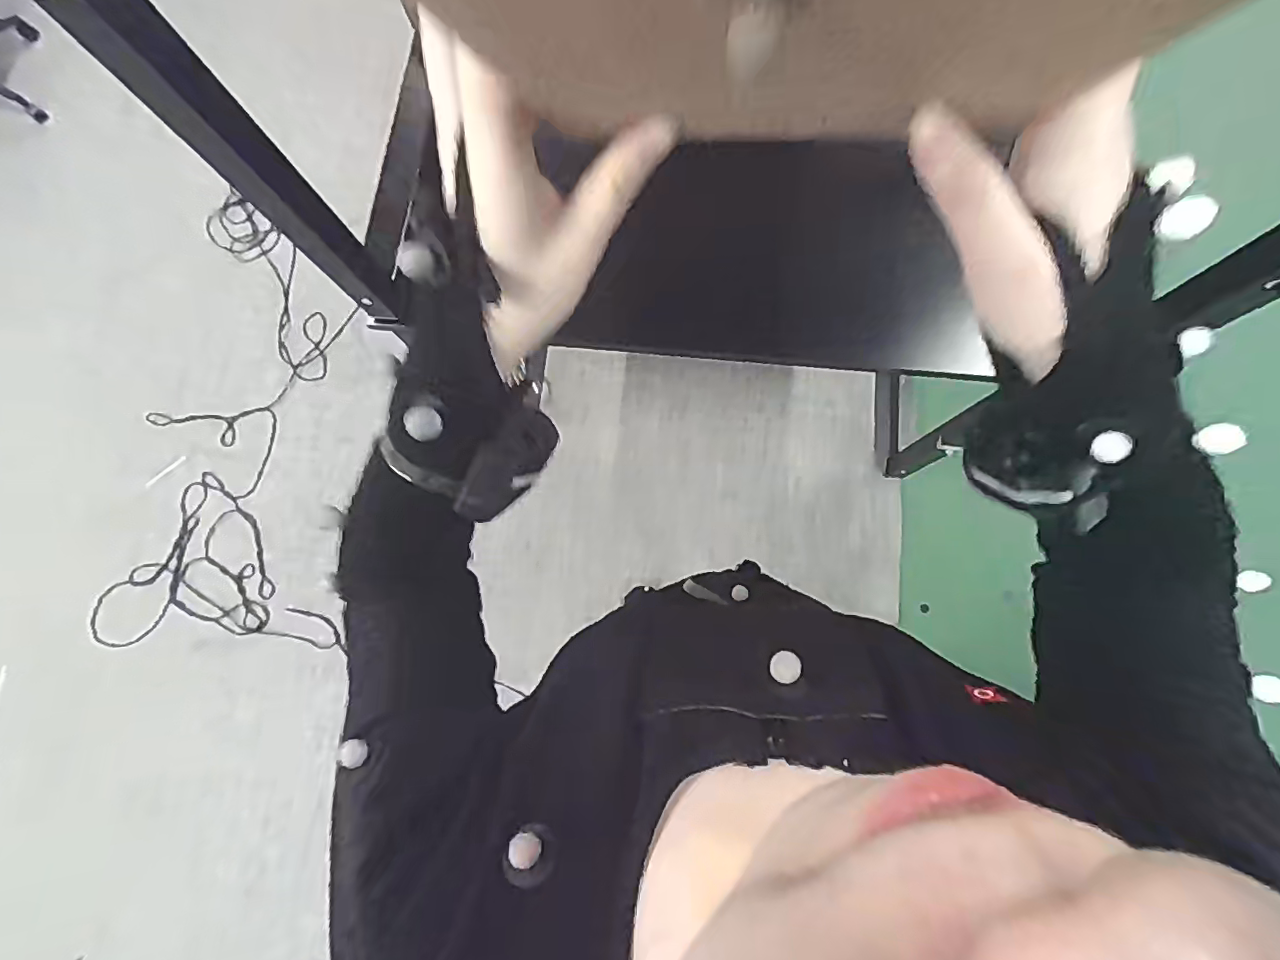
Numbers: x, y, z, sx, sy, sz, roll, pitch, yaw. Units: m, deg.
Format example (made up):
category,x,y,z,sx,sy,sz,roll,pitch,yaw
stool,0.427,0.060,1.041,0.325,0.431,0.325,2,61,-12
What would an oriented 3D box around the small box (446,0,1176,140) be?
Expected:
category,x,y,z,sx,sy,sz,roll,pitch,yaw
small box,0.040,-0.181,0.109,0.179,0.176,0.168,4,112,9
